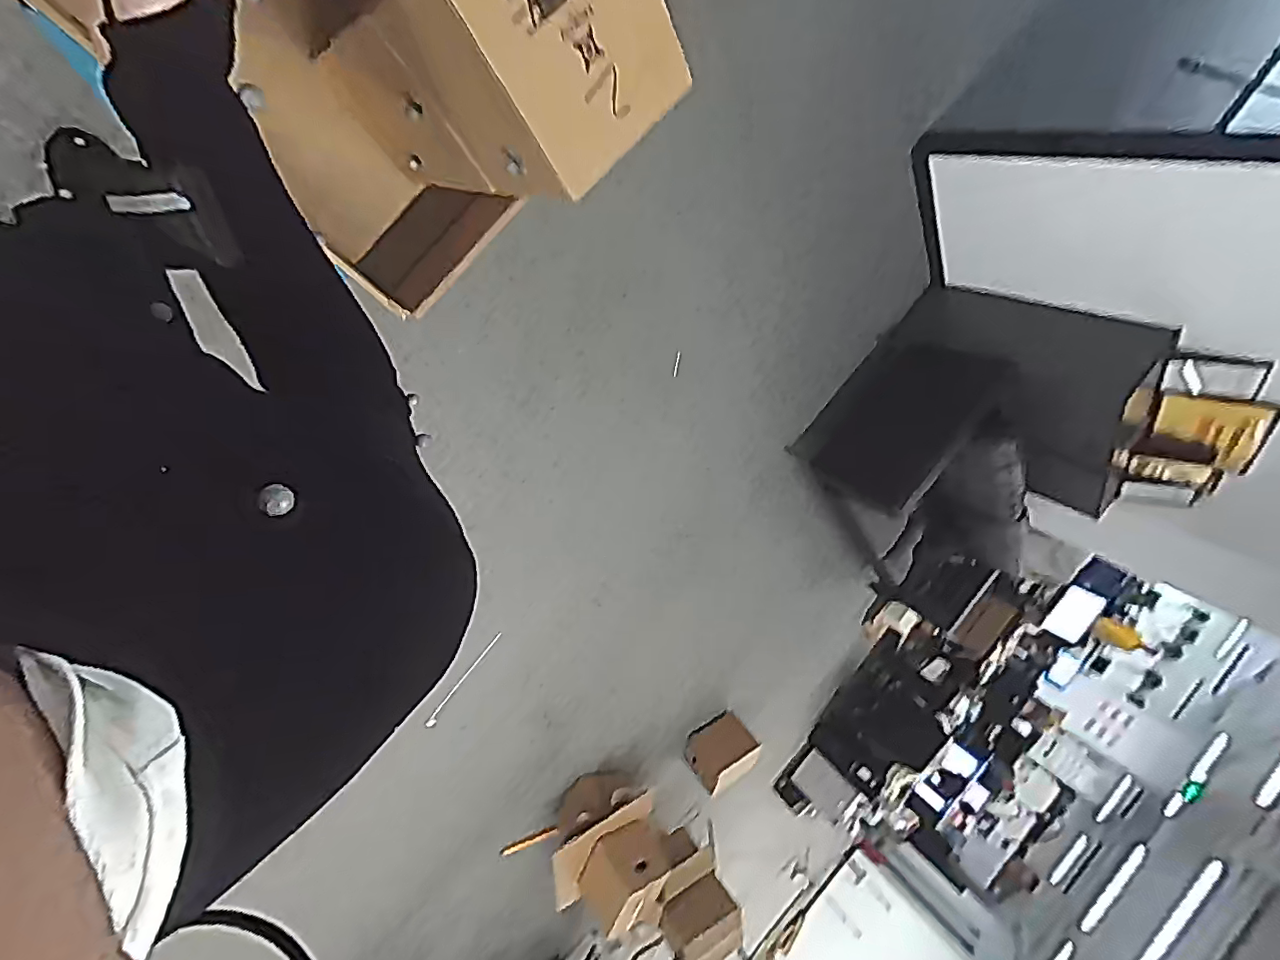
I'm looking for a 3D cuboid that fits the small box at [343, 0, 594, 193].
[{"bbox_3d":[-0.191,-0.450,0.599,0.168,0.176,0.179,-47,137,-7],"label":"small box"}]
